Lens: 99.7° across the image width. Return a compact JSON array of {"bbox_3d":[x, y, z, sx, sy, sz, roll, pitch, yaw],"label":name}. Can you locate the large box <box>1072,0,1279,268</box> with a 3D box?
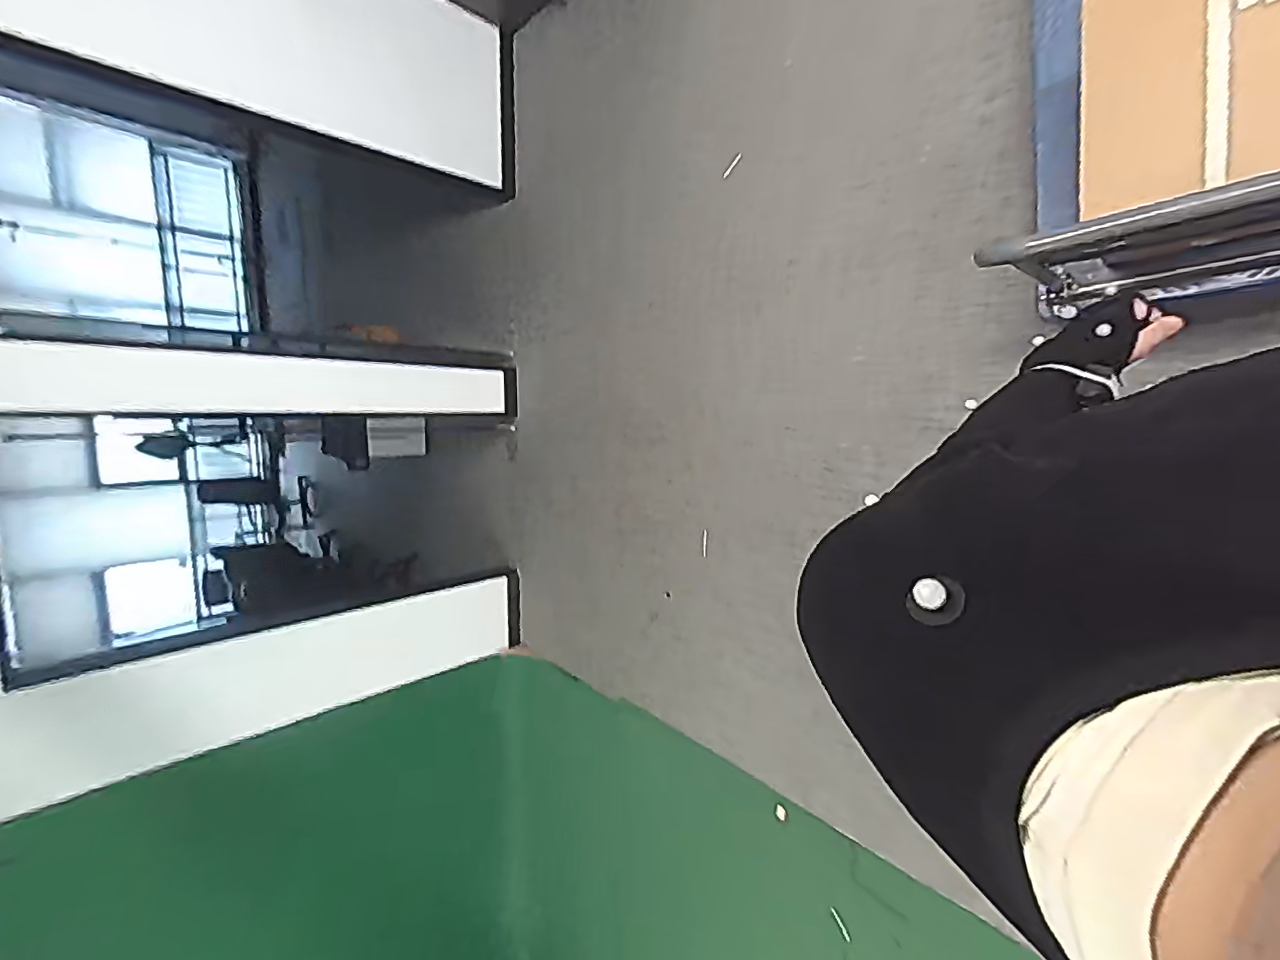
[{"bbox_3d":[0.946,-0.625,0.899,0.320,0.320,0.408,0,93,46],"label":"large box"}]
